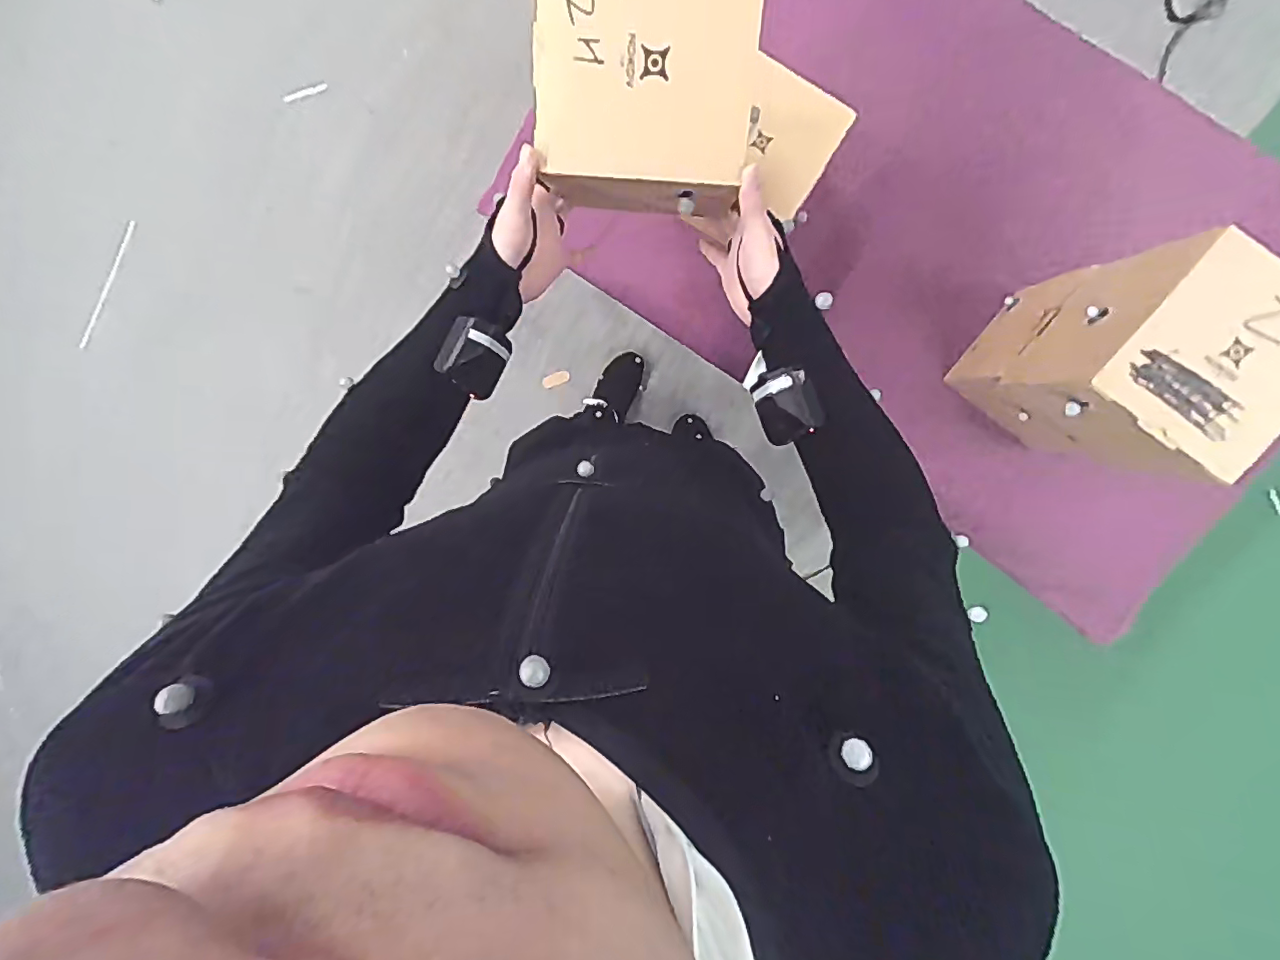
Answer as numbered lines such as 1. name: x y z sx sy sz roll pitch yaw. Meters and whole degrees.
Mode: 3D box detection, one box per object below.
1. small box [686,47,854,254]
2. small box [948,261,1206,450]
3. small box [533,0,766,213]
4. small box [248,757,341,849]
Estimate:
1. small box: 0.152 -0.433 0.738 0.179 0.176 0.168 32 101 0
2. small box: 0.569 -0.160 0.737 0.179 0.176 0.168 37 101 -1
3. small box: 0.008 -0.350 0.495 0.179 0.176 0.168 5 108 2
4. small box: -1.171 1.095 1.849 0.179 0.176 0.168 37 101 -1
